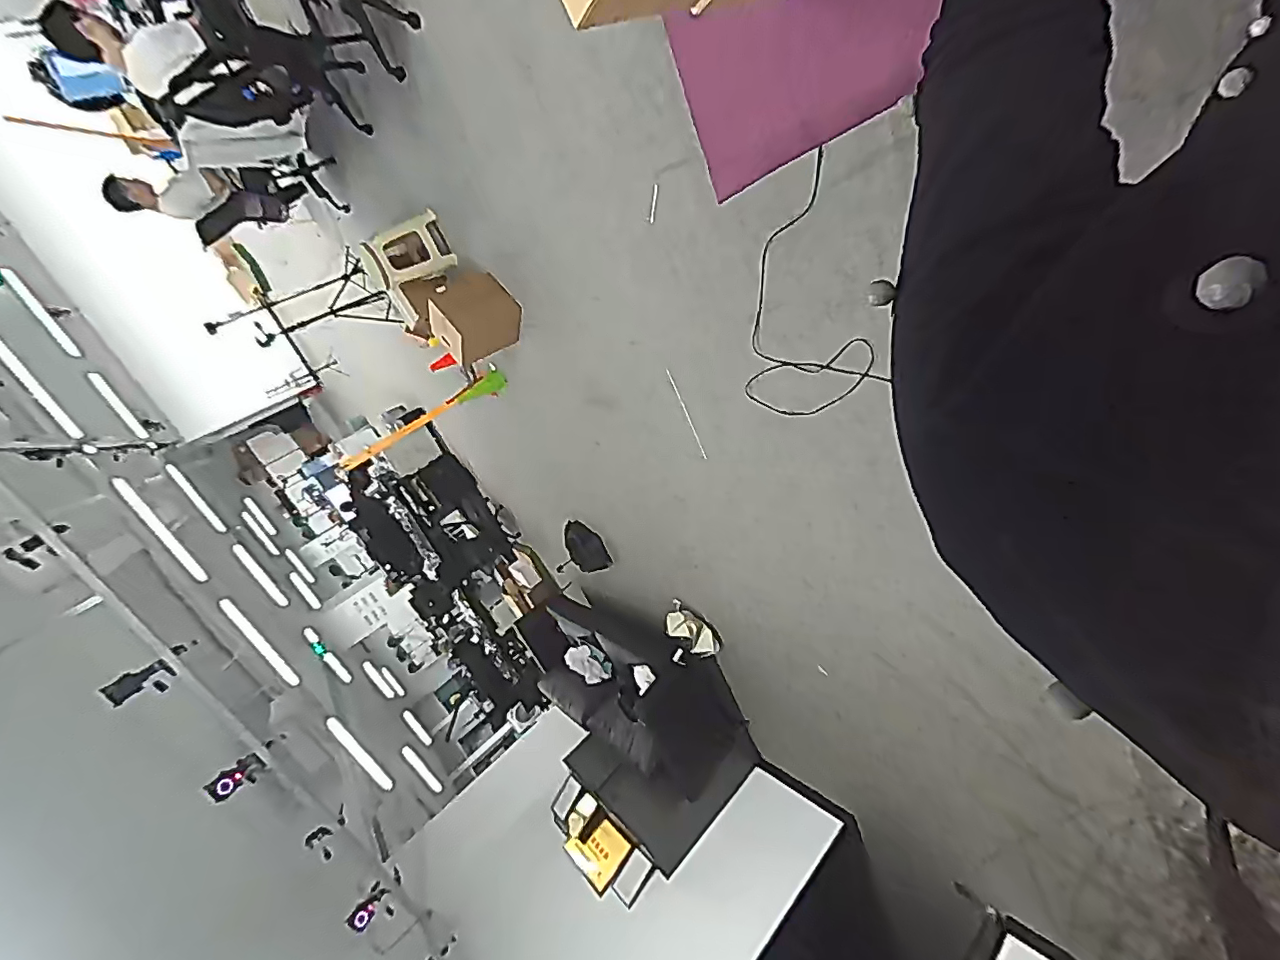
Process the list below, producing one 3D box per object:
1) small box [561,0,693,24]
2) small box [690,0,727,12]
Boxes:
[{"bbox_3d":[0.008,-0.541,0.457,0.179,0.176,0.168,2,122,56],"label":"small box"},{"bbox_3d":[0.126,-0.626,0.540,0.168,0.176,0.179,-1,122,58],"label":"small box"}]
